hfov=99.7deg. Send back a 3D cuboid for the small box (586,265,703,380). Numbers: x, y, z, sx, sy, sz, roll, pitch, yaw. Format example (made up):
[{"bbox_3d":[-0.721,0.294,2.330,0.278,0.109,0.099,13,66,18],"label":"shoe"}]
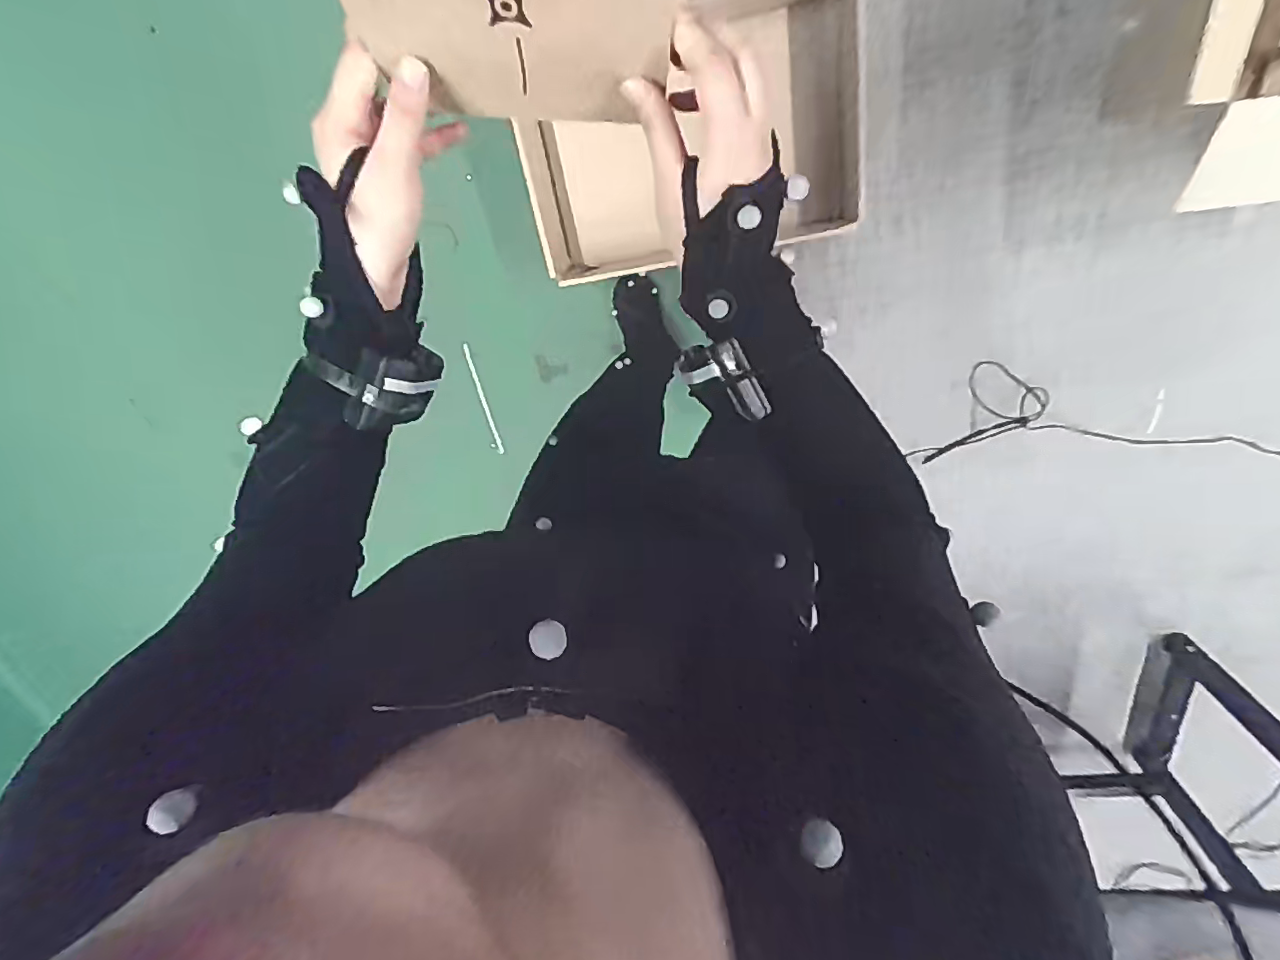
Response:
[{"bbox_3d":[0.016,-0.354,1.223,0.176,0.168,0.179,26,96,-41],"label":"small box"}]
